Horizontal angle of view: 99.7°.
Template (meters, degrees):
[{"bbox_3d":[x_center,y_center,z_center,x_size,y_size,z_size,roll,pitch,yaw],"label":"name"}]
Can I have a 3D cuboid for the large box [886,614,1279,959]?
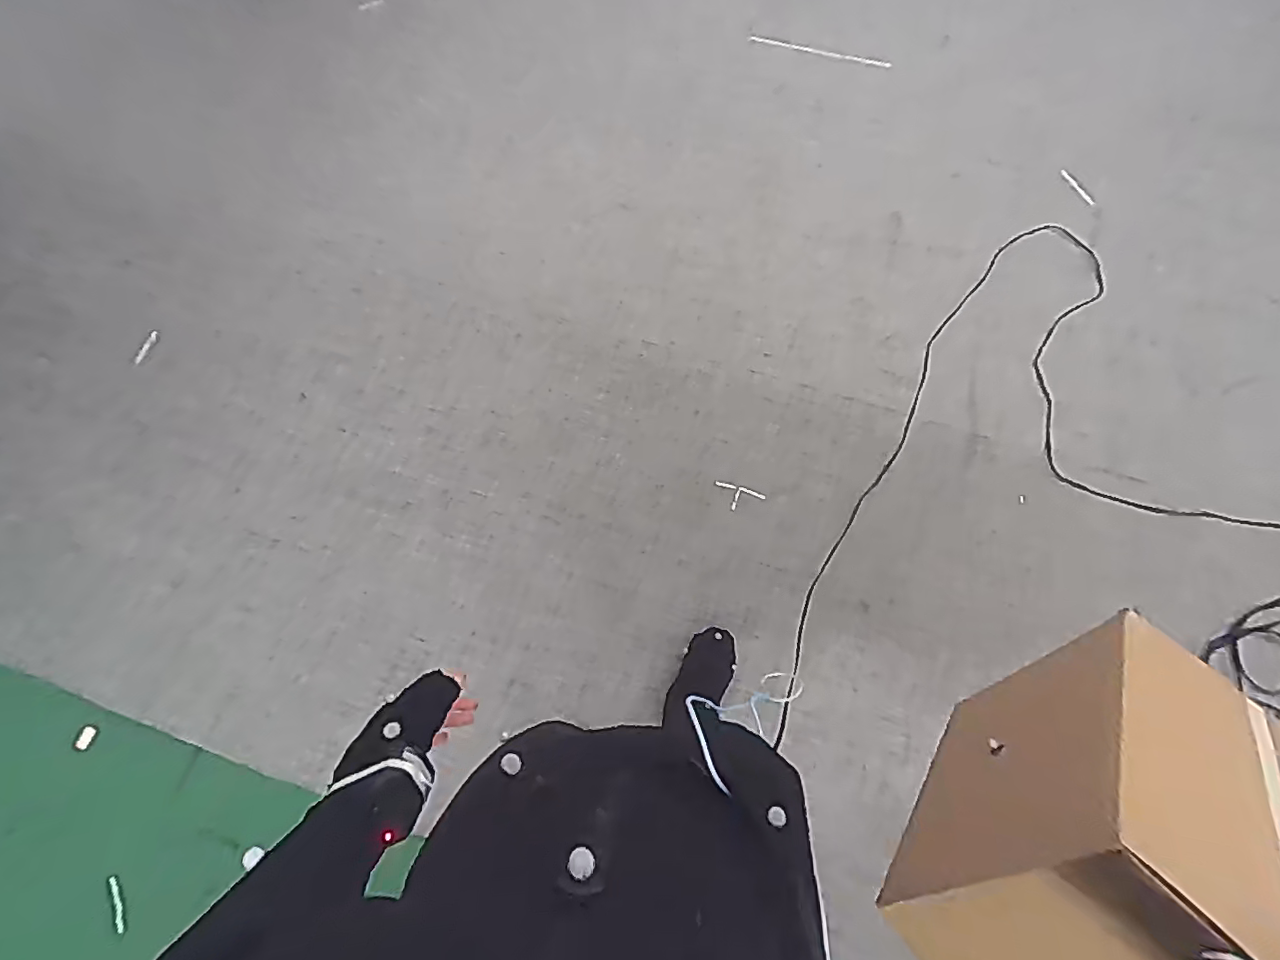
[{"bbox_3d":[0.561,0.443,0.631,0.320,0.320,0.408,45,42,18],"label":"large box"}]
